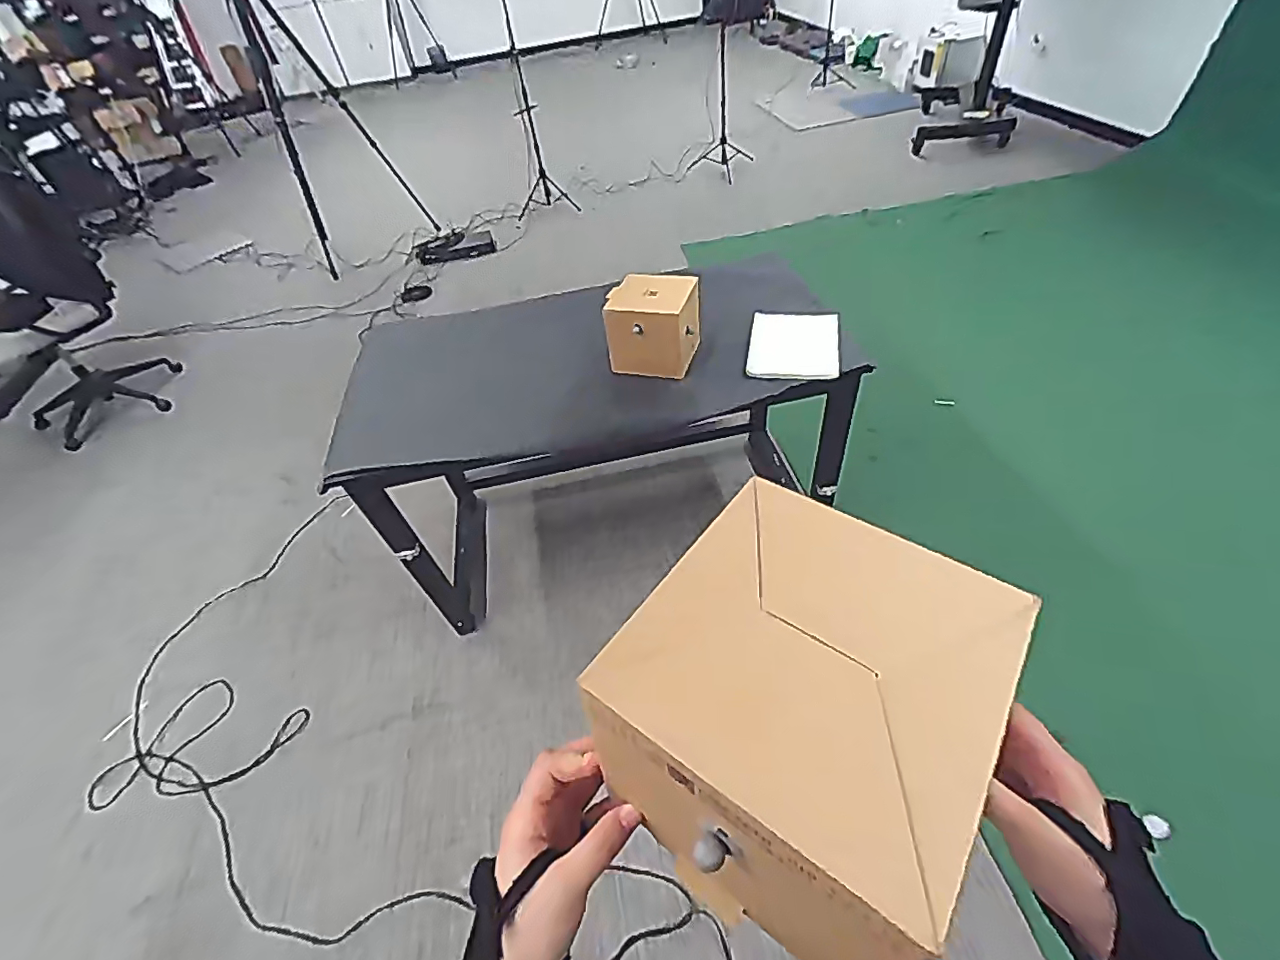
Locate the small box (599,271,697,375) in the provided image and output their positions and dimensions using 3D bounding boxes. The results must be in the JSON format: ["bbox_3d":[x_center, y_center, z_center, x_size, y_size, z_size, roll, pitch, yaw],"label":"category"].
[{"bbox_3d":[0.028,-0.360,1.245,0.179,0.176,0.168,9,49,18],"label":"small box"}]

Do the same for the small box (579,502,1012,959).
[{"bbox_3d":[0.085,0.134,0.320,0.168,0.176,0.179,26,51,28],"label":"small box"}]
